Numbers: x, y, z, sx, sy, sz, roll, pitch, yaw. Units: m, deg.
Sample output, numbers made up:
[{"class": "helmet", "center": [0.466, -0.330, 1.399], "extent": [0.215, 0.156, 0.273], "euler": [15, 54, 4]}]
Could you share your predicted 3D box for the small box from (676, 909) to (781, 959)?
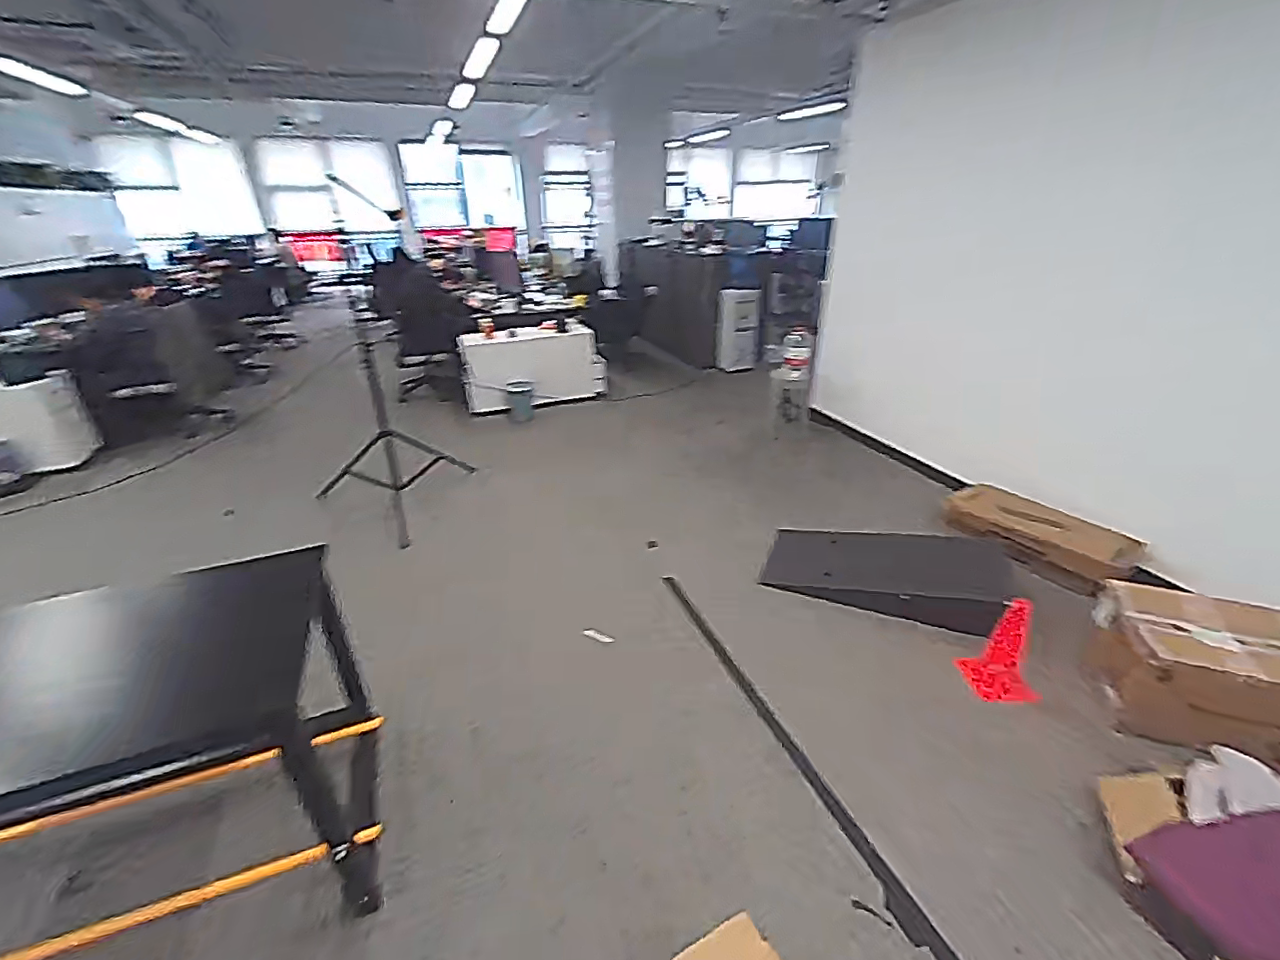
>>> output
[{"class": "small box", "center": [0.178, 0.959, 0.995], "extent": [0.179, 0.176, 0.168], "euler": [-16, 29, -23]}]
